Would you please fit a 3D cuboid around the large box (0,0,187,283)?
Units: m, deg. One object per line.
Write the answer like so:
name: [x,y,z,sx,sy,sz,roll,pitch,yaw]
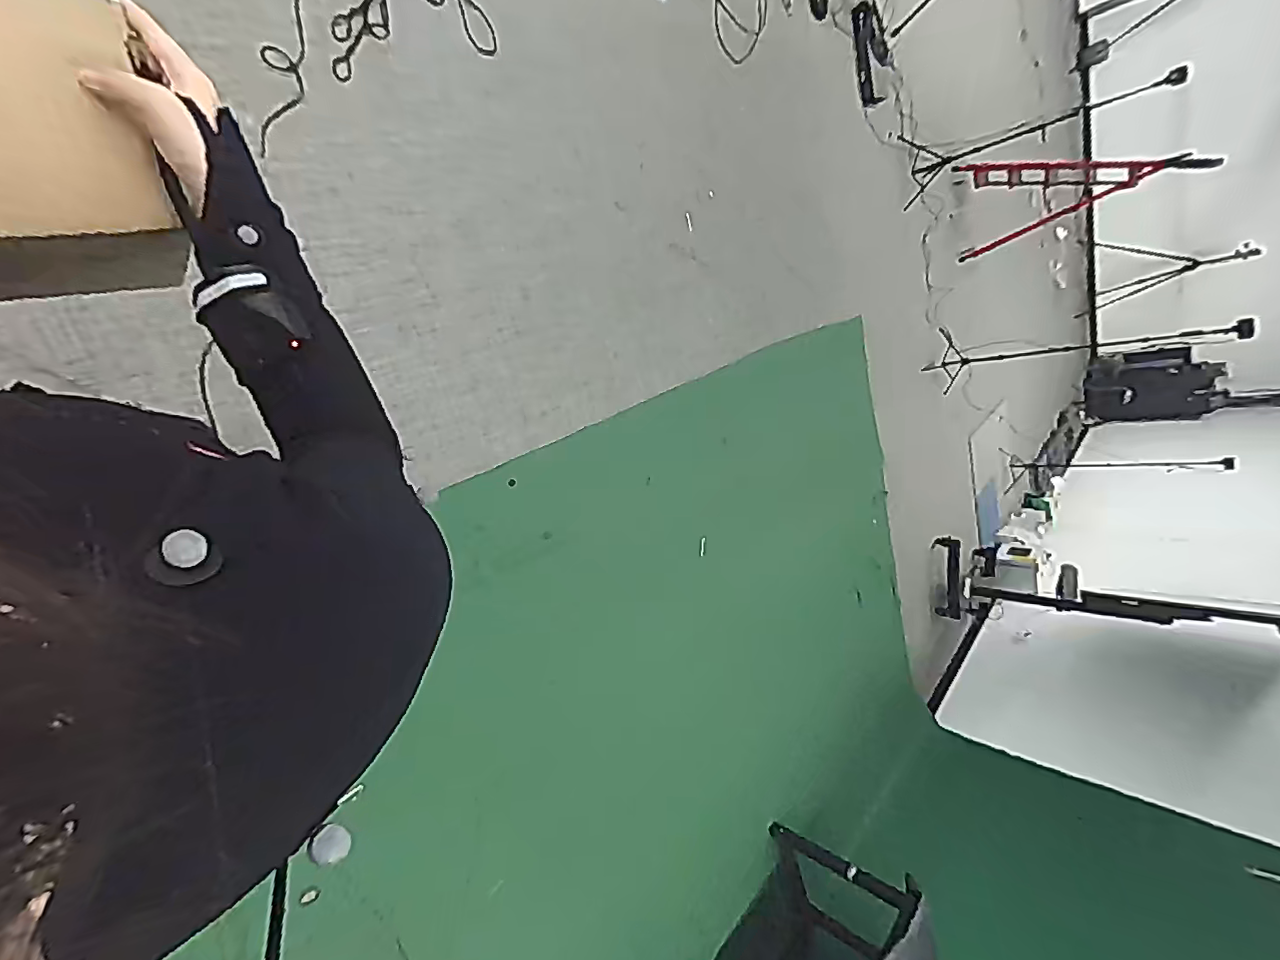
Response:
large box: [-0.620,-0.302,0.369,0.408,0.320,0.320,-23,113,-35]
